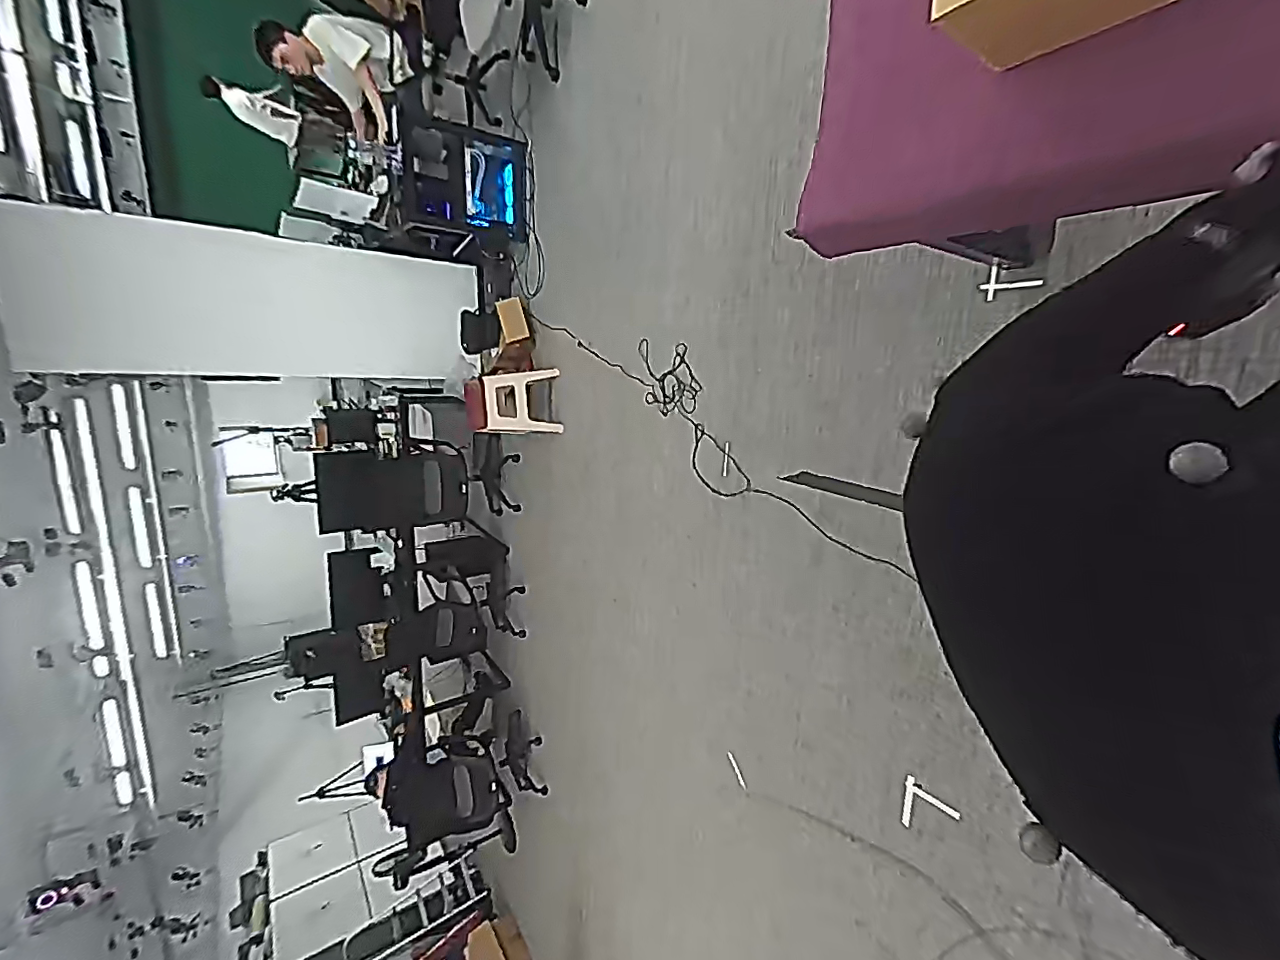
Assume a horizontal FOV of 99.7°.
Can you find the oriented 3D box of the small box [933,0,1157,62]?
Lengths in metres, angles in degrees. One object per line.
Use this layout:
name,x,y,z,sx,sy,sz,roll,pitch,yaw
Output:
small box,0.434,-0.575,0.550,0.179,0.176,0.168,13,106,52
